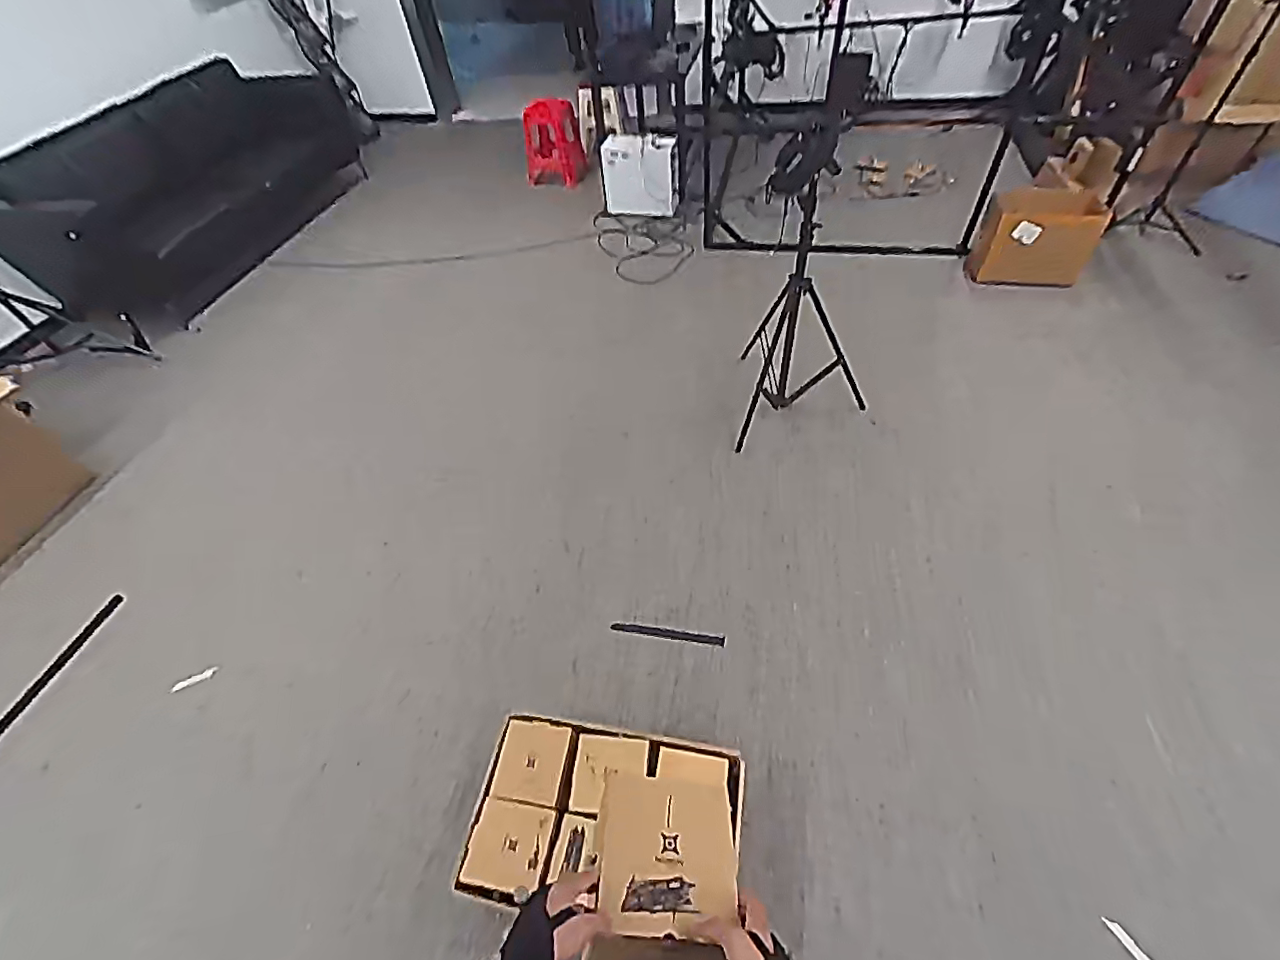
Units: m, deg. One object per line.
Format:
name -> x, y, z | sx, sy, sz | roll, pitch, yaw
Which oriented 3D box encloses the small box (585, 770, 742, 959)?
small box -> 0.024, 0.508, 0.694 | 0.168, 0.176, 0.179 | 9, 34, -3
